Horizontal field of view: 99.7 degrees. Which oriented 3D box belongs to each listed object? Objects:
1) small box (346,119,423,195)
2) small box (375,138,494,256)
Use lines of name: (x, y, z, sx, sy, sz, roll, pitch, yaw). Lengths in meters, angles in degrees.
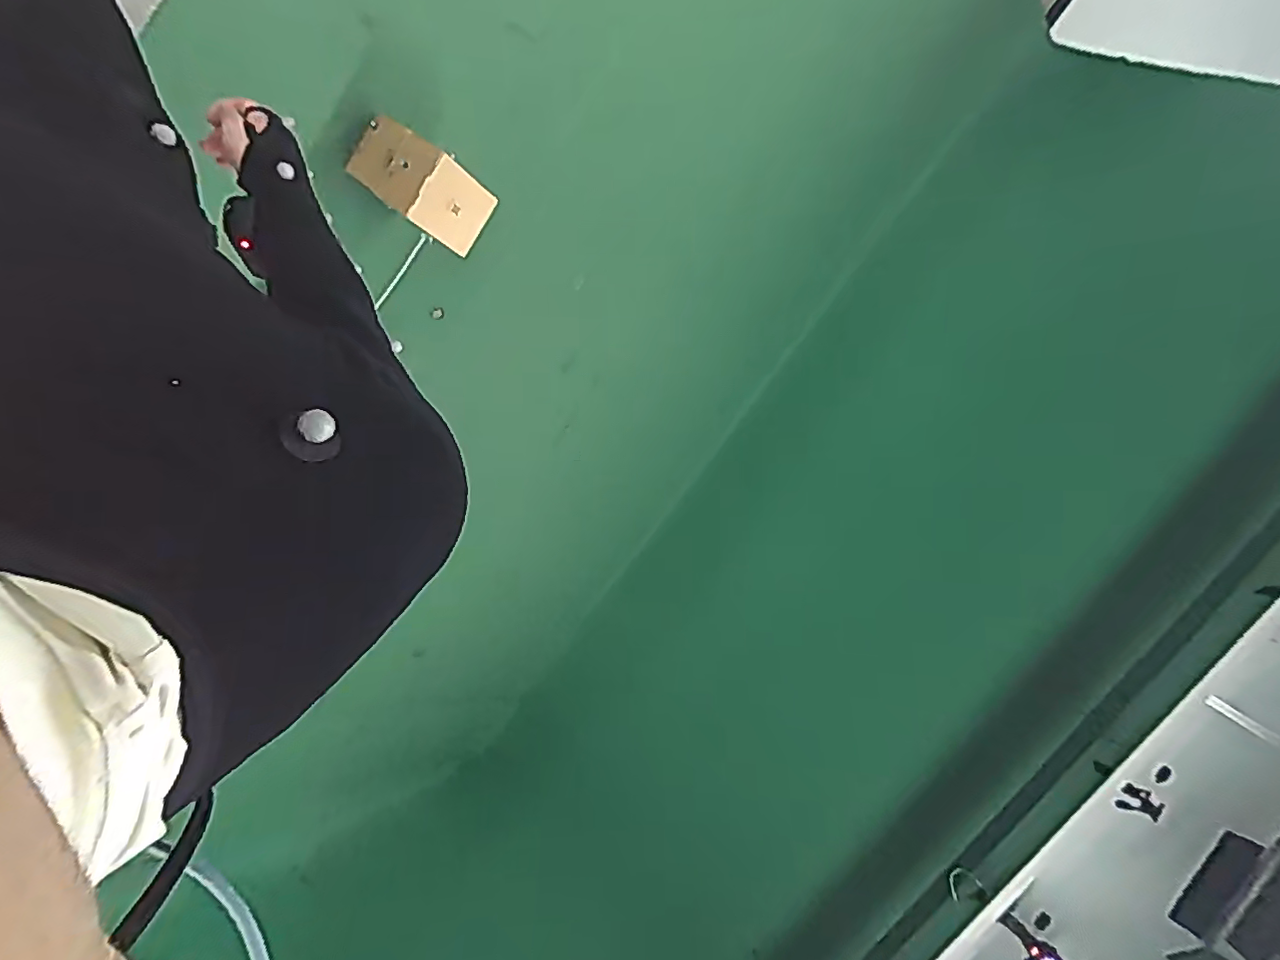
small box: (-0.605, -0.781, 1.376, 0.168, 0.176, 0.179, -54, 152, 8)
small box: (-0.496, -0.684, 1.305, 0.168, 0.176, 0.179, -54, 150, 9)
